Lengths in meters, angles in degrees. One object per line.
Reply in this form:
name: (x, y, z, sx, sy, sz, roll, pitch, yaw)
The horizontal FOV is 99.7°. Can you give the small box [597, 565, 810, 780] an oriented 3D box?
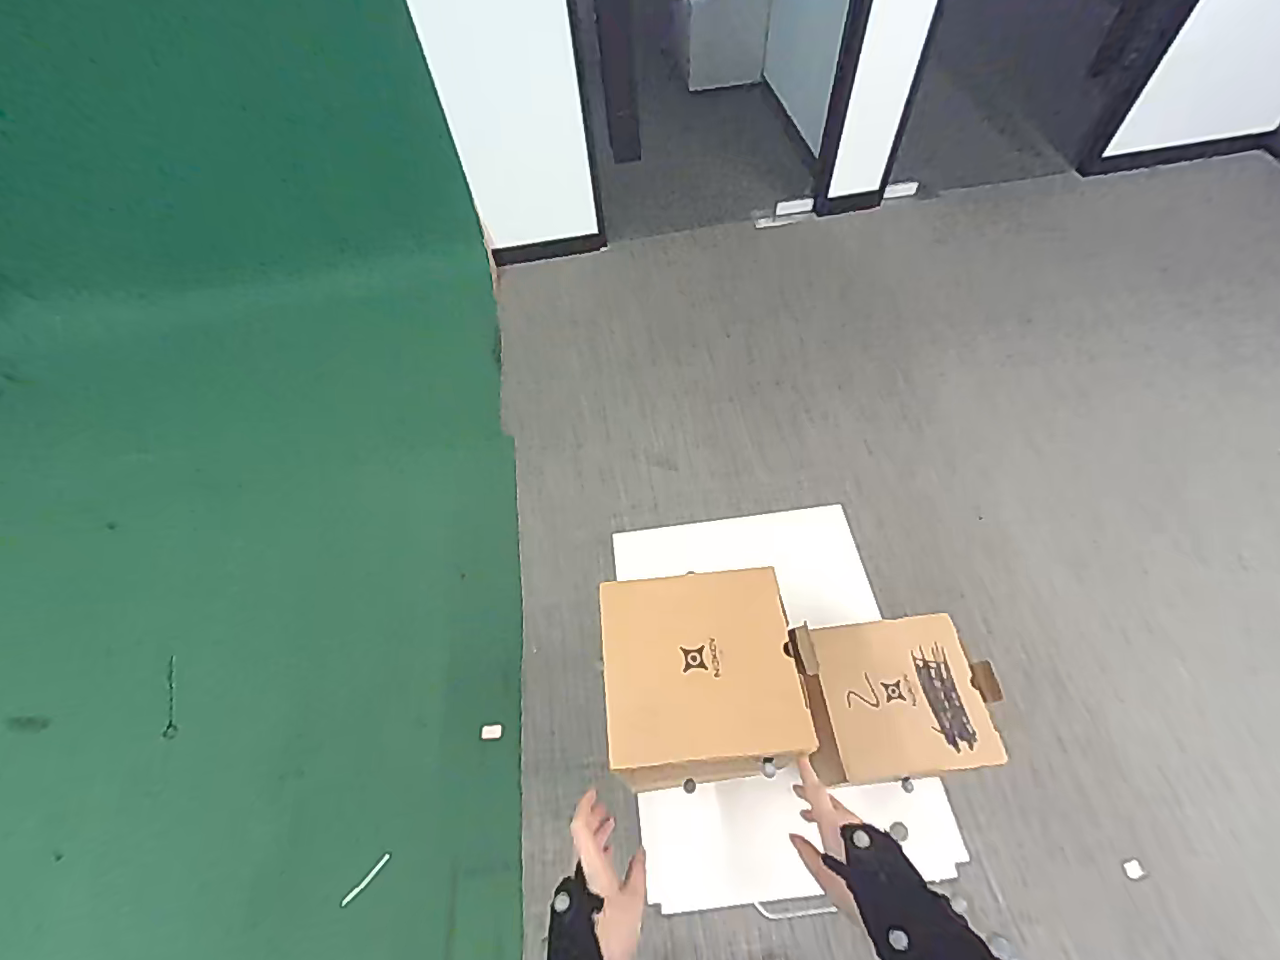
small box: (0.053, 0.204, 0.560, 0.179, 0.176, 0.168, -5, 56, -3)
